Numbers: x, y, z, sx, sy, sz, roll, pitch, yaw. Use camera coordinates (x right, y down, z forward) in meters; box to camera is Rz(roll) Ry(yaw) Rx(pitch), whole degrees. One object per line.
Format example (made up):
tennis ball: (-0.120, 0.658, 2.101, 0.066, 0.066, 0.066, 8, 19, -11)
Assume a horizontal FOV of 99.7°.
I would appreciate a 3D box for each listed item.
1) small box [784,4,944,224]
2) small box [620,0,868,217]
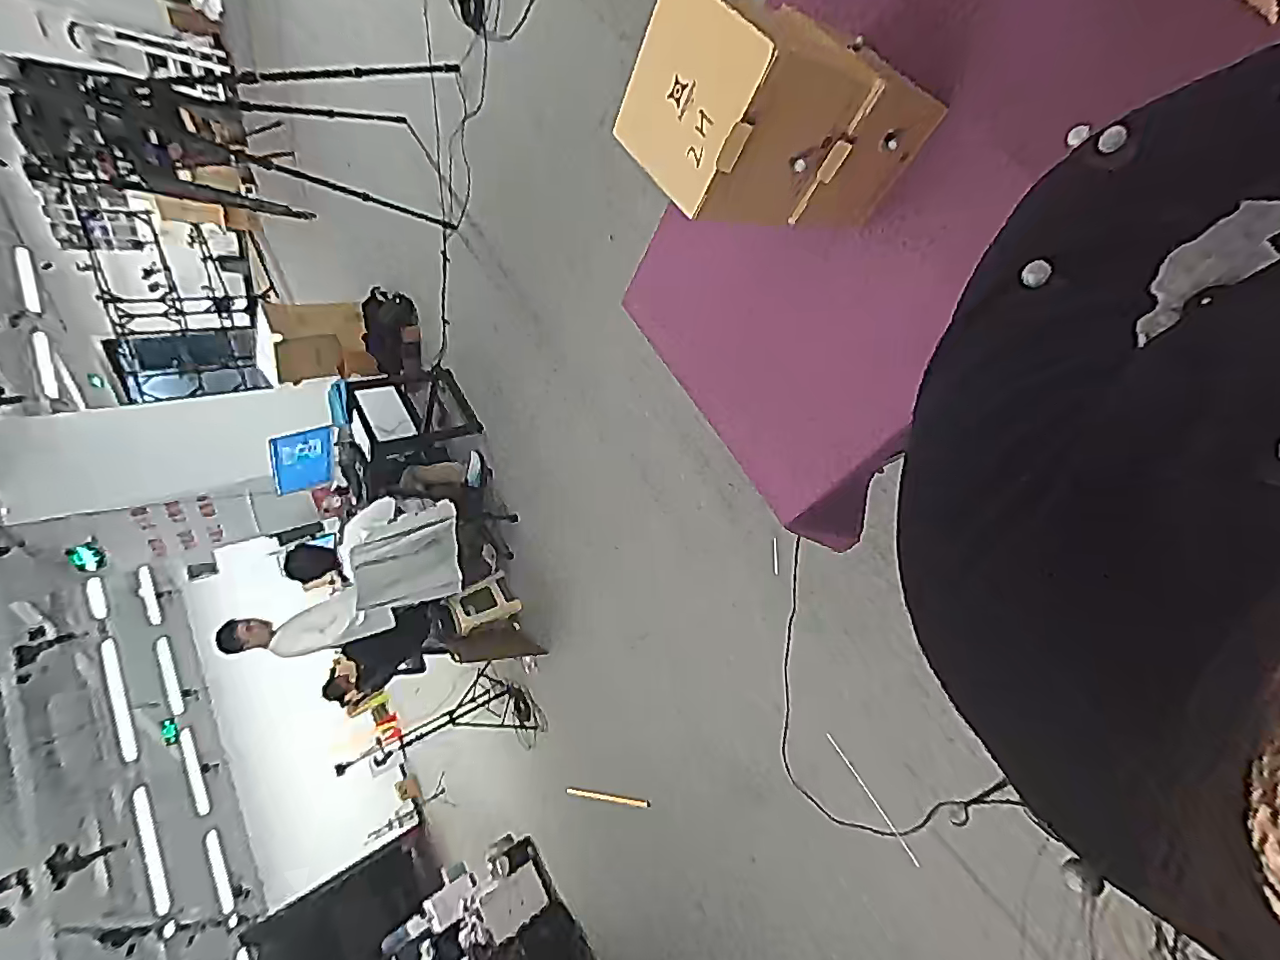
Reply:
small box: (0.247, -0.457, 0.700, 0.179, 0.176, 0.168, 58, 140, 20)
small box: (0.112, -0.419, 0.611, 0.179, 0.176, 0.168, 57, 140, 20)
